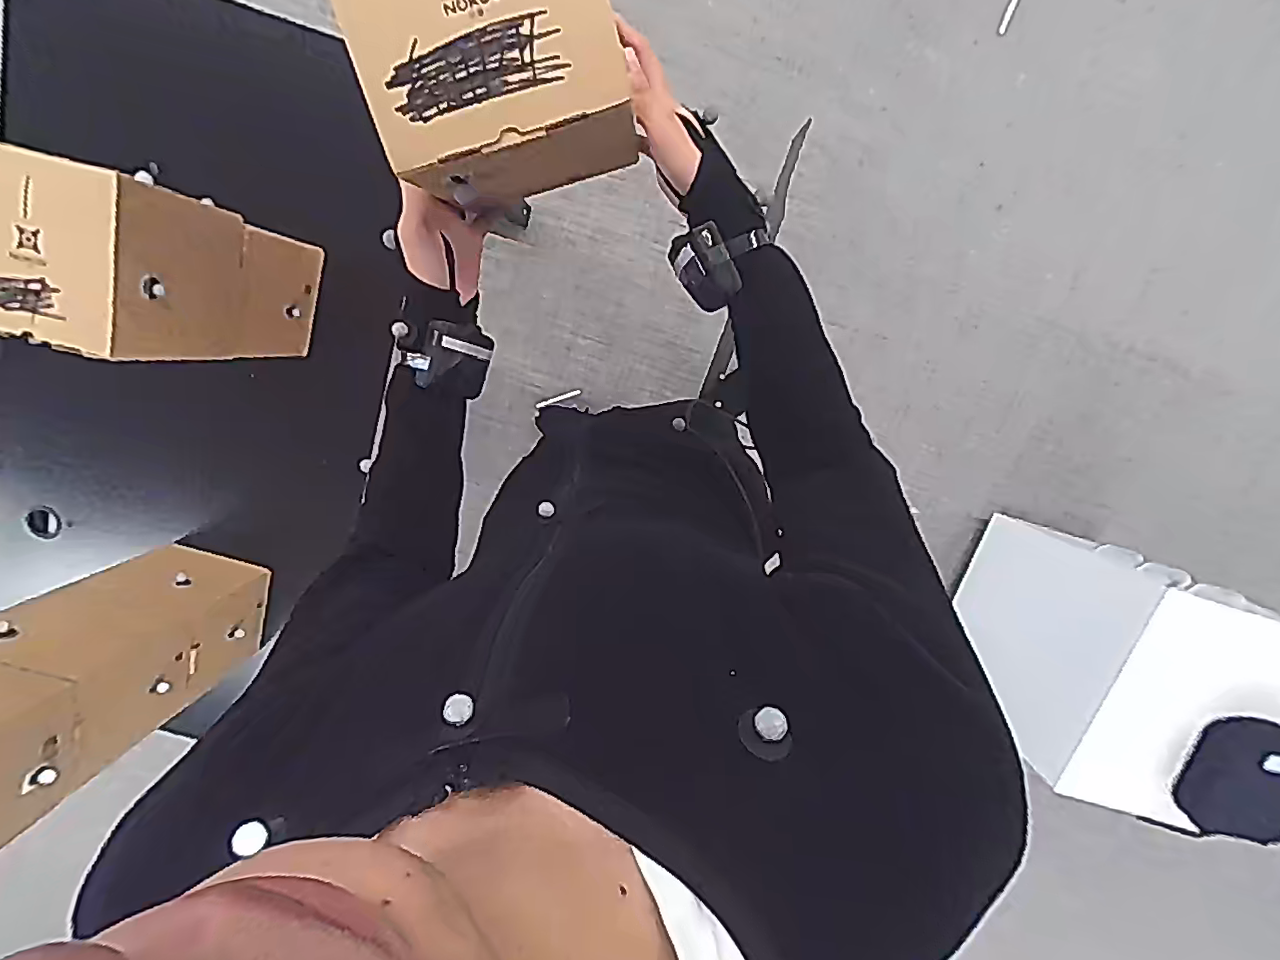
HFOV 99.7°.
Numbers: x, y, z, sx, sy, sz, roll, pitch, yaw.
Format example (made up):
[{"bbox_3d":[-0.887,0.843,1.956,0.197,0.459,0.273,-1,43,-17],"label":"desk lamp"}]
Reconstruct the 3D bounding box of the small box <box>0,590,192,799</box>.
[{"bbox_3d":[-0.739,0.262,0.698,0.179,0.176,0.168,16,103,-4],"label":"small box"}]

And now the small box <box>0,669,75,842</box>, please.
[{"bbox_3d":[-0.739,0.298,0.539,0.179,0.176,0.168,16,104,-4],"label":"small box"}]

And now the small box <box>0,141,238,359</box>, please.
[{"bbox_3d":[-0.576,-0.236,0.583,0.168,0.176,0.179,13,102,-3],"label":"small box"}]

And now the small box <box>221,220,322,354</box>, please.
[{"bbox_3d":[-0.581,-0.275,0.743,0.179,0.176,0.168,17,103,-4],"label":"small box"}]

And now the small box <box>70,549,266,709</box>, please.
[{"bbox_3d":[-0.737,0.225,0.858,0.179,0.176,0.168,15,102,-4],"label":"small box"}]
